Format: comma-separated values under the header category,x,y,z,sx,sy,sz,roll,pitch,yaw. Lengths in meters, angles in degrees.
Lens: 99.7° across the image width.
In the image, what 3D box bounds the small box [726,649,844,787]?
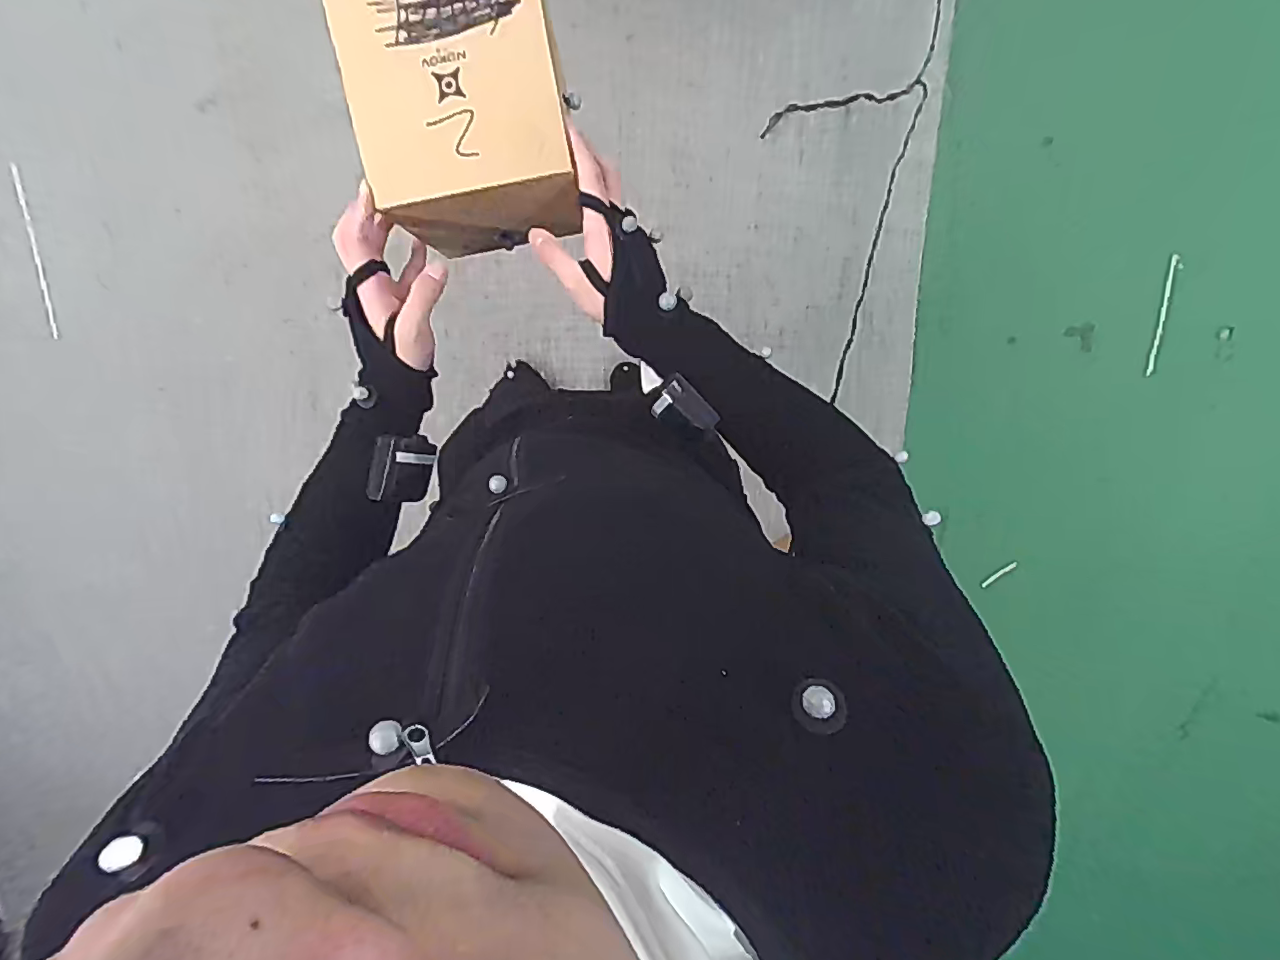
category,x,y,z,sx,sy,sz,roll,pitch,yaw
small box,0.302,0.502,1.161,0.168,0.176,0.179,-31,98,7
